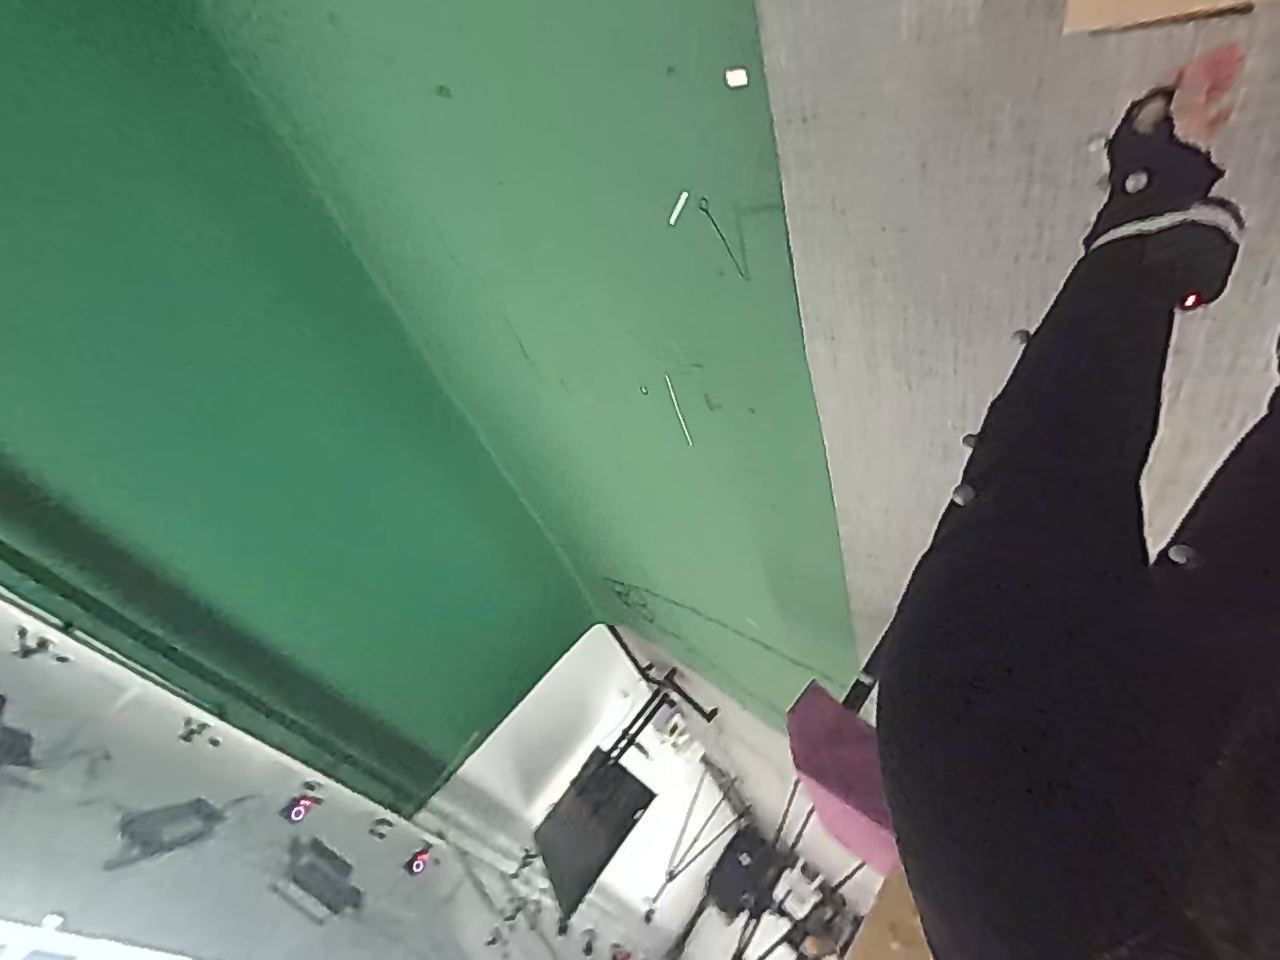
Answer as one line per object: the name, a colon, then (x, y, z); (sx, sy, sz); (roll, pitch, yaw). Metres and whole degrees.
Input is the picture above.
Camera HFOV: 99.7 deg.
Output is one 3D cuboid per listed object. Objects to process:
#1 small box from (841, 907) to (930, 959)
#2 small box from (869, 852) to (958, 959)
small box: (0.675, 1.324, 1.475); (0.168, 0.176, 0.179); (18, 144, 46)
small box: (0.780, 1.213, 1.536); (0.179, 0.176, 0.168); (21, 146, 44)
